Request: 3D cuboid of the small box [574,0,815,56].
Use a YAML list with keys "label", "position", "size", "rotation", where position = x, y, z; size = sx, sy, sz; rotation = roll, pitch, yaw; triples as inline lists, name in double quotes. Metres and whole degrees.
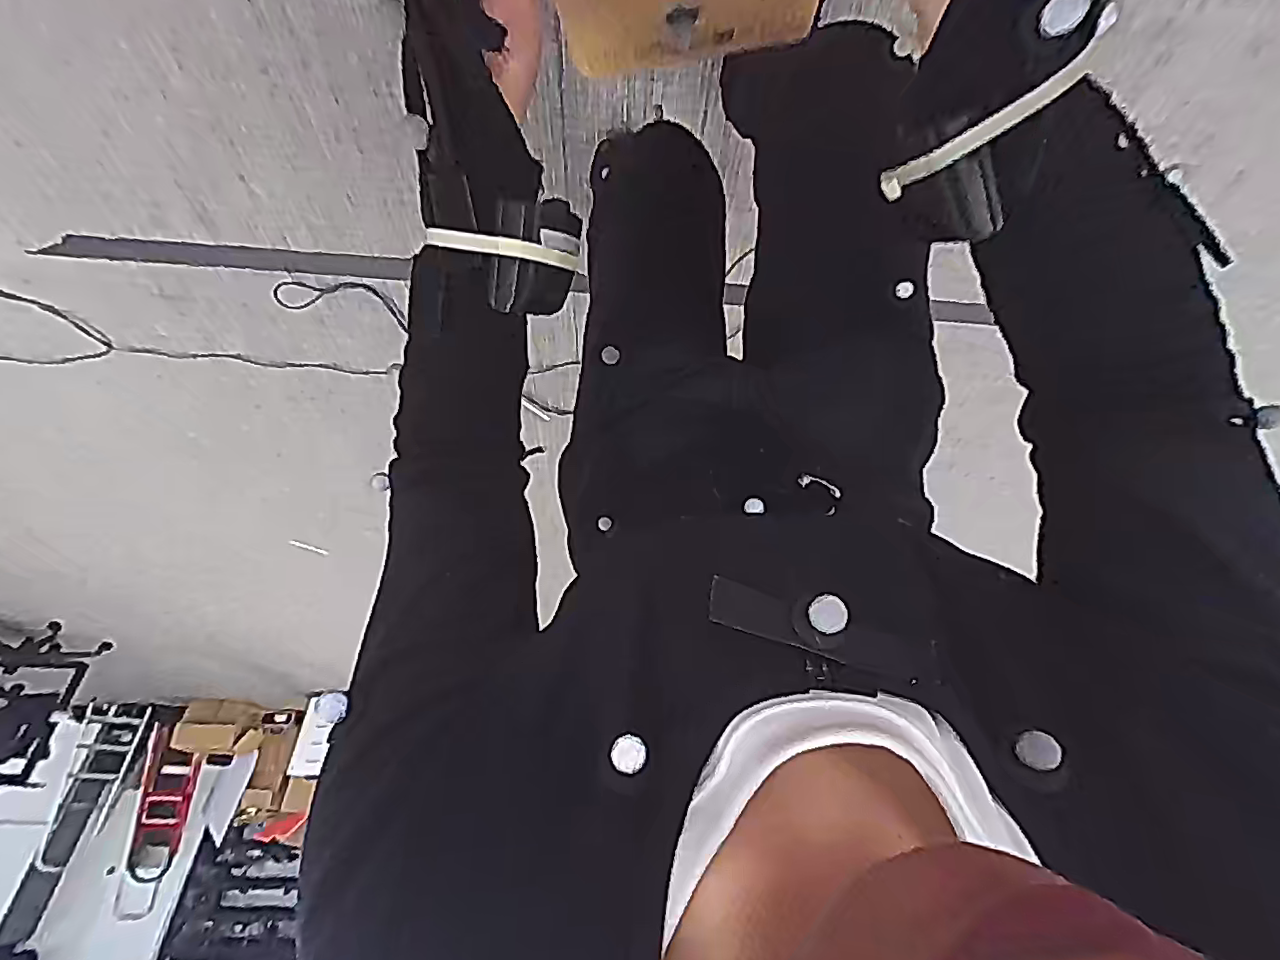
- label: "small box"
  position: [0.022, -0.380, 0.286]
  size: [0.168, 0.179, 0.176]
  rotation: [-5, -170, 8]
